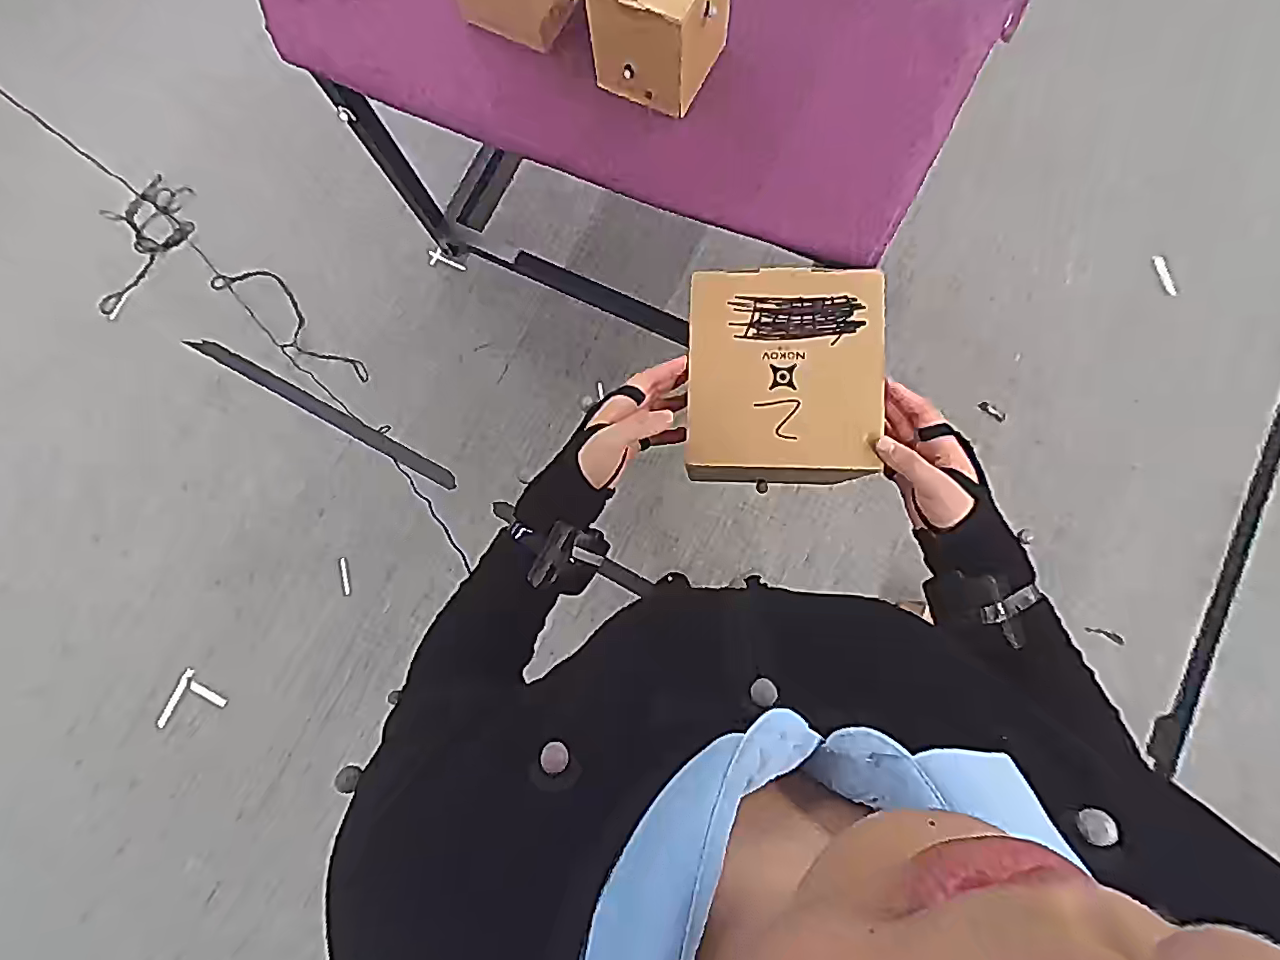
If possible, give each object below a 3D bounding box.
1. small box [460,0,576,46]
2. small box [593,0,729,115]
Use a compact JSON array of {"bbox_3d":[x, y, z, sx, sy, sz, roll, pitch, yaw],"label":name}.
[{"bbox_3d":[-0.208,-0.880,0.900,0.179,0.176,0.168,27,83,8],"label":"small box"},{"bbox_3d":[0.035,-0.742,0.861,0.168,0.176,0.179,27,83,8],"label":"small box"}]
